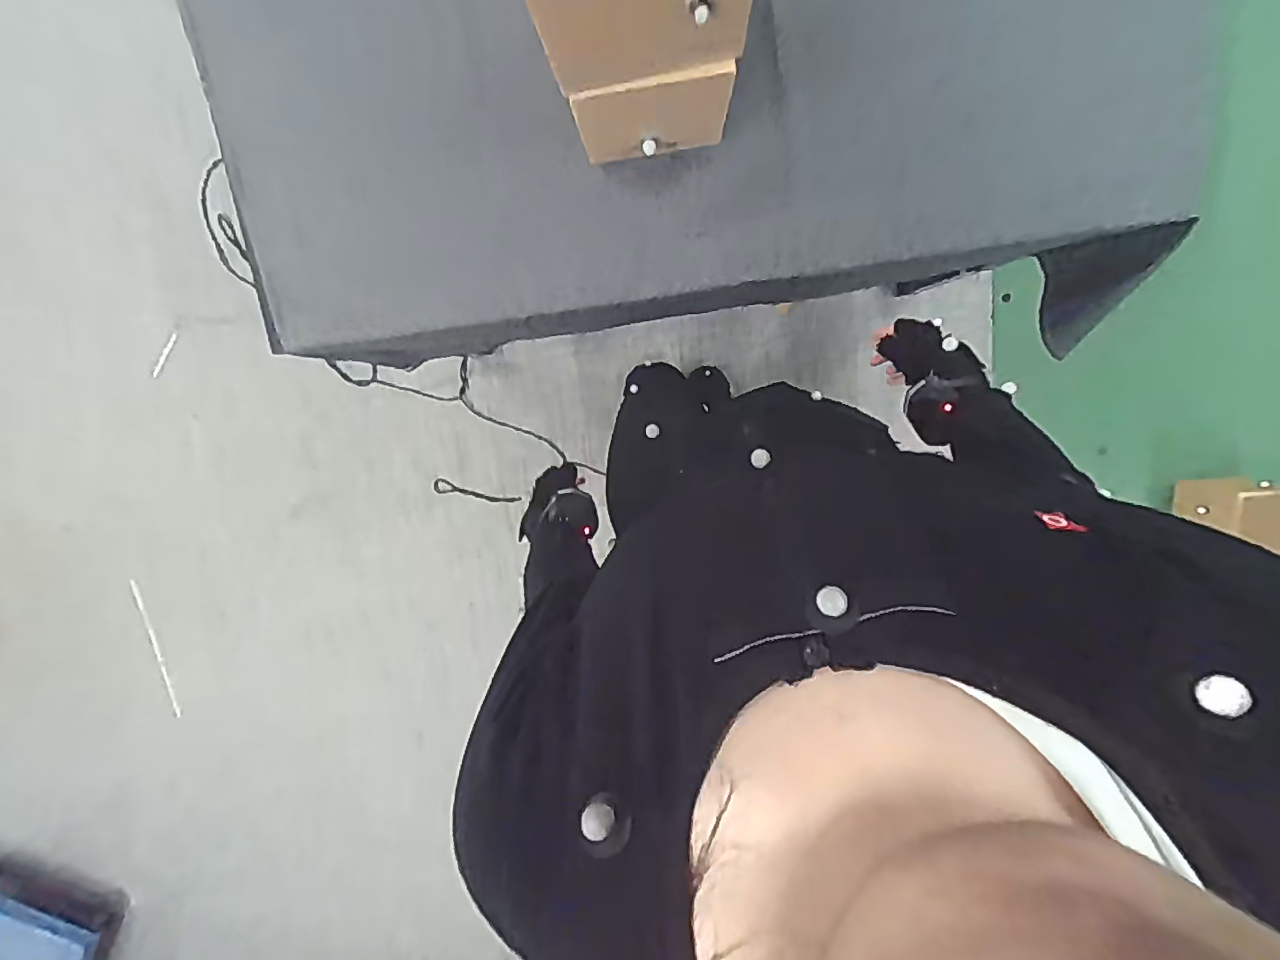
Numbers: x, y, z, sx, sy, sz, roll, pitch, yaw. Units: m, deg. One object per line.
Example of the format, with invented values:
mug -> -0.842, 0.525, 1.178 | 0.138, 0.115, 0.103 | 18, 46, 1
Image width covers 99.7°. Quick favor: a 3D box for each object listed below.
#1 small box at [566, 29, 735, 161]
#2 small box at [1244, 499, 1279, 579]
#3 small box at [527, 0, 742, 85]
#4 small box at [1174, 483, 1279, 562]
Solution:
small box -> 0.004, -0.478, 0.580 | 0.168, 0.176, 0.179 | -6, 100, 4
small box -> 1.500, 0.137, 1.185 | 0.168, 0.176, 0.179 | -3, 101, 3
small box -> -0.009, -0.452, 0.420 | 0.179, 0.176, 0.168 | -9, 99, 5
small box -> 1.498, 0.101, 1.346 | 0.179, 0.176, 0.168 | -2, 100, 3
